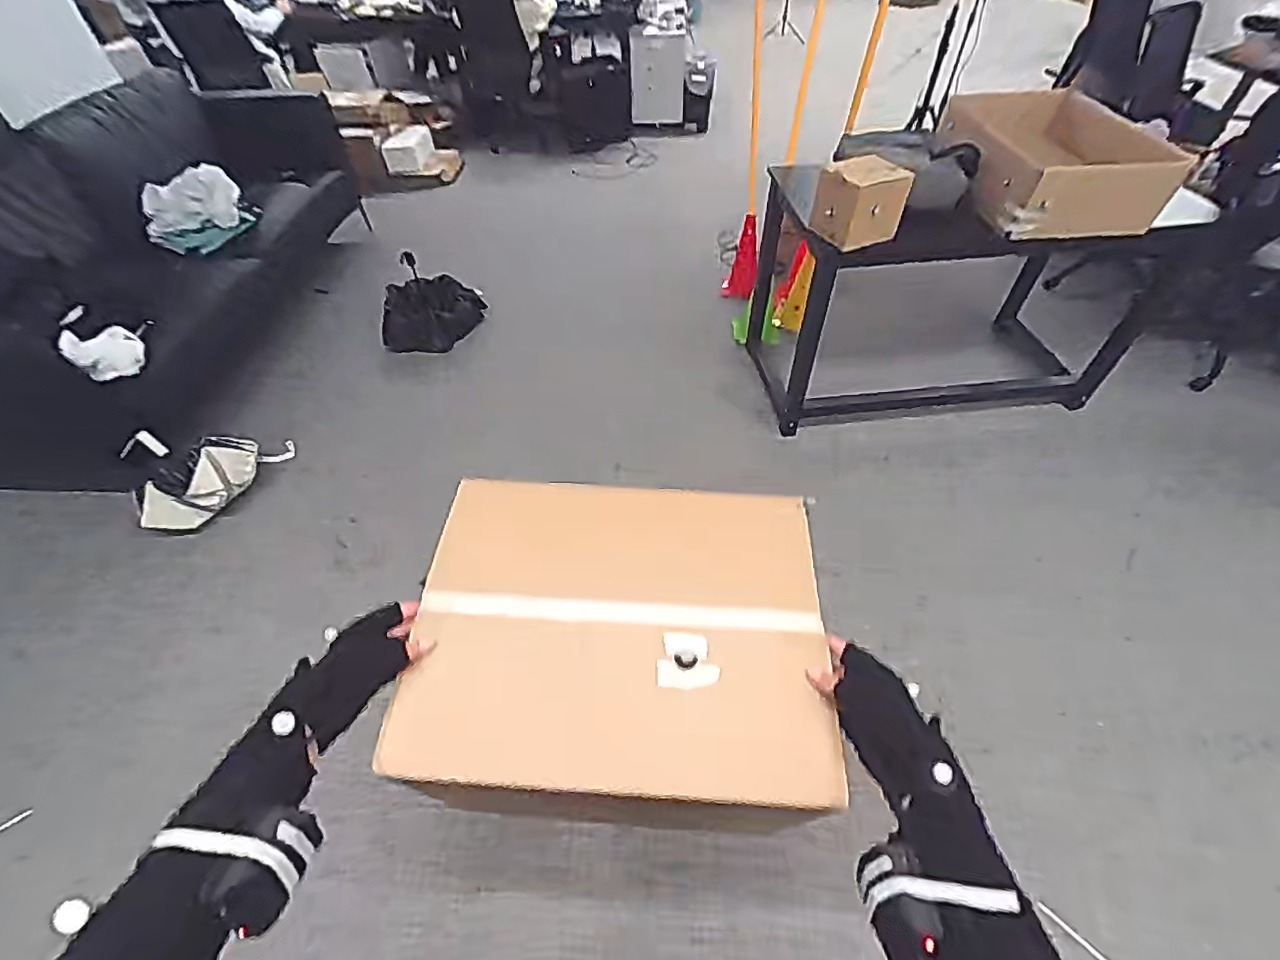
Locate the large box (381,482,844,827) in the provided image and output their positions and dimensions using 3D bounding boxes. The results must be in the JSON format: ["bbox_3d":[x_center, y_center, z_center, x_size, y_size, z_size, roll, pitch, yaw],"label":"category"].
[{"bbox_3d":[-0.021,0.222,0.663,0.408,0.320,0.320,3,53,1],"label":"large box"}]
